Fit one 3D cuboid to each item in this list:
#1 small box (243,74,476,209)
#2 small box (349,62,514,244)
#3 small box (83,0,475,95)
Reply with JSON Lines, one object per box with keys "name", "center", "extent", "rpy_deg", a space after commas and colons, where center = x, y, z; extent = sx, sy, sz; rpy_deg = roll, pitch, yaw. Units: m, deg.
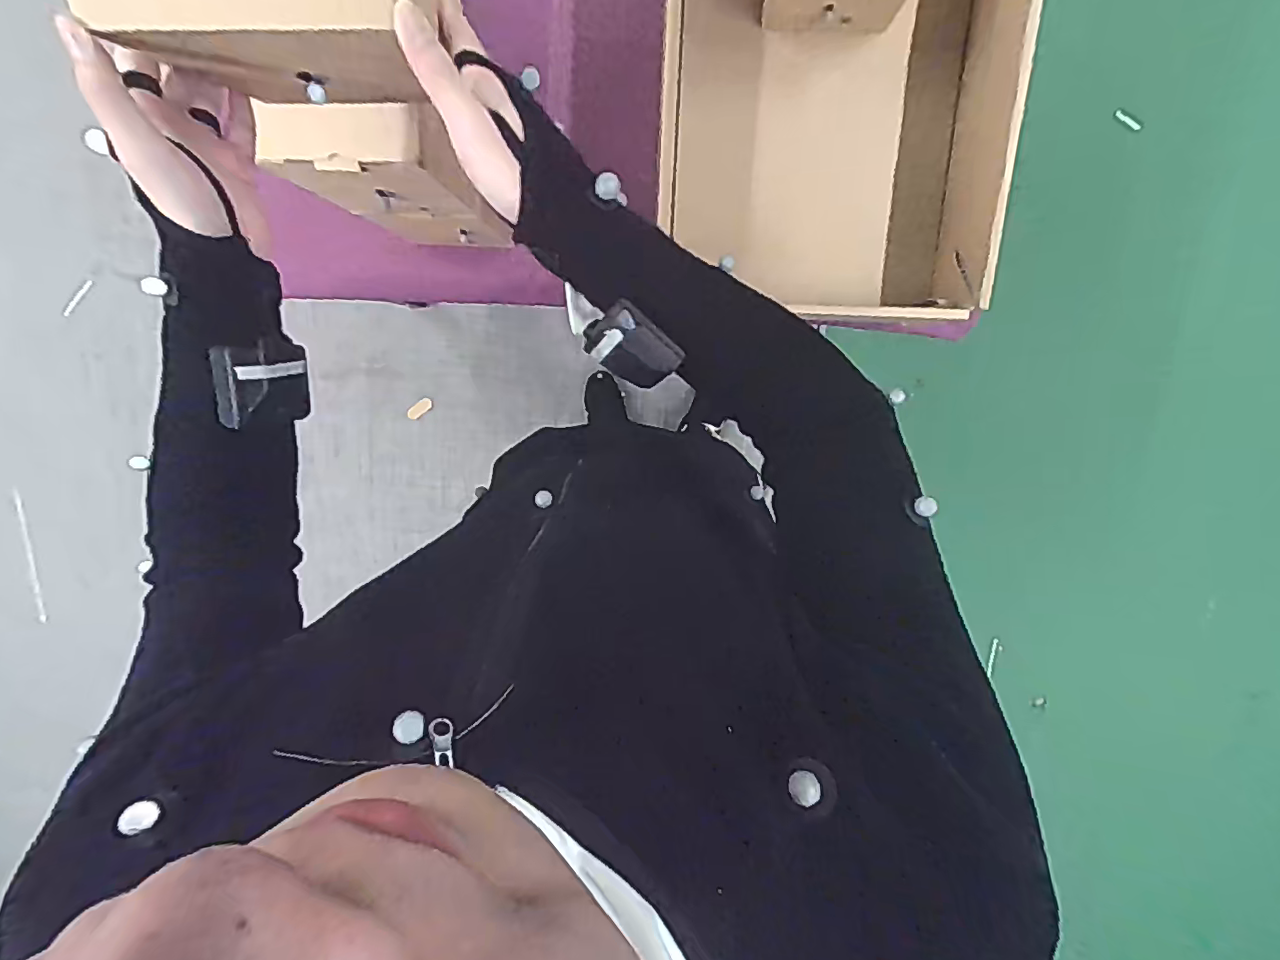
{"name": "small box", "center": [-0.280, -0.400, 0.571], "extent": [0.168, 0.176, 0.179], "rpy_deg": [3, 102, 1]}
{"name": "small box", "center": [-0.273, -0.430, 0.731], "extent": [0.168, 0.176, 0.179], "rpy_deg": [3, 101, 2]}
{"name": "small box", "center": [-0.205, -0.346, 0.318], "extent": [0.168, 0.176, 0.179], "rpy_deg": [-2, 114, -3]}
